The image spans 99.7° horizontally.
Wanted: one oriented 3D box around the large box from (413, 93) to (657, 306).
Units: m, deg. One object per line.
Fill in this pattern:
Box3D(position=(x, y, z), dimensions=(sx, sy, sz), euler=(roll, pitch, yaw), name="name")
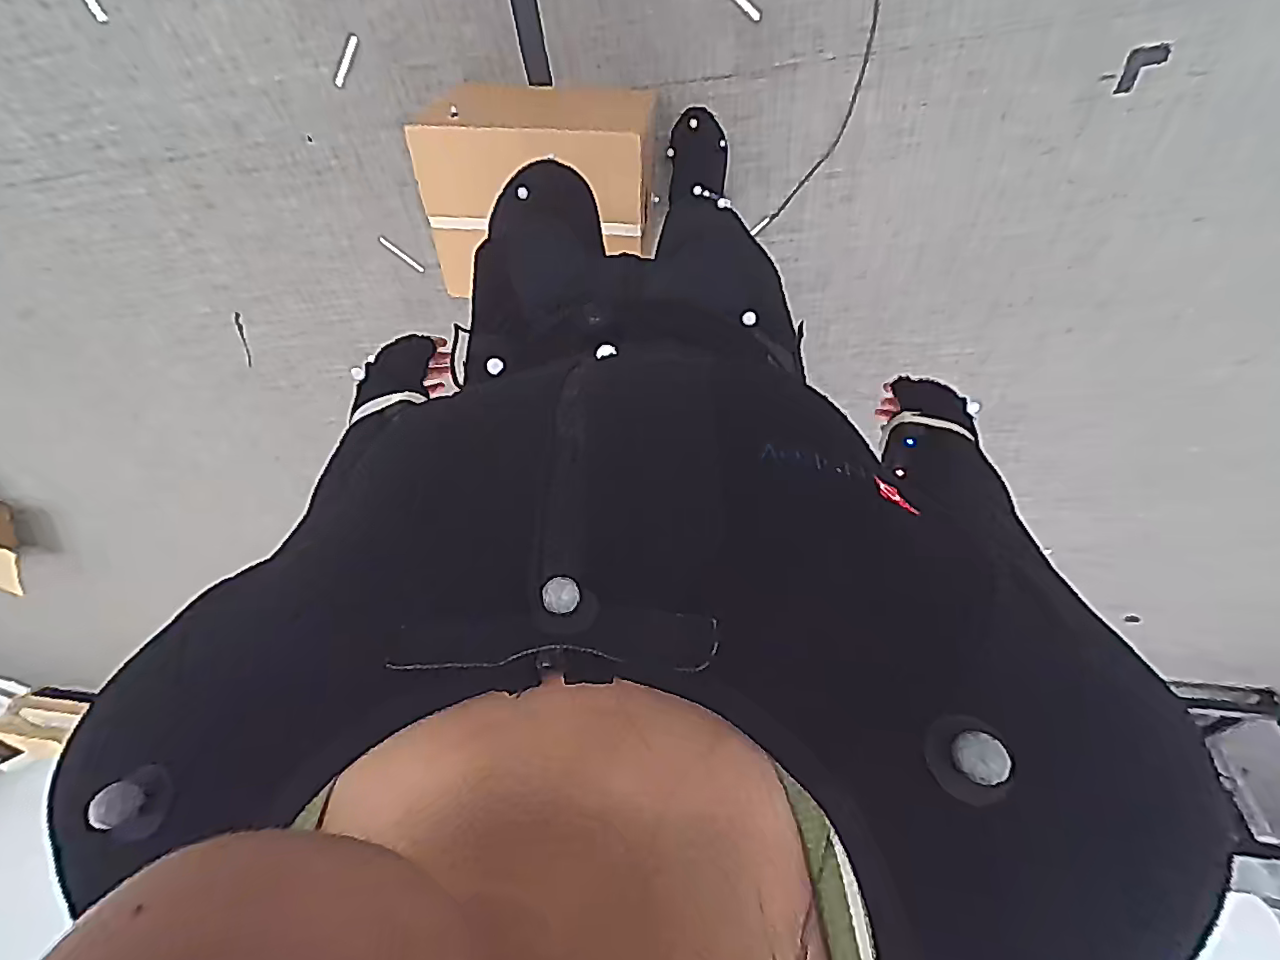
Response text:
Box3D(position=(-0.178, -0.580, 1.110), dimensions=(0.408, 0.320, 0.320), euler=(4, 137, 3), name="large box")
